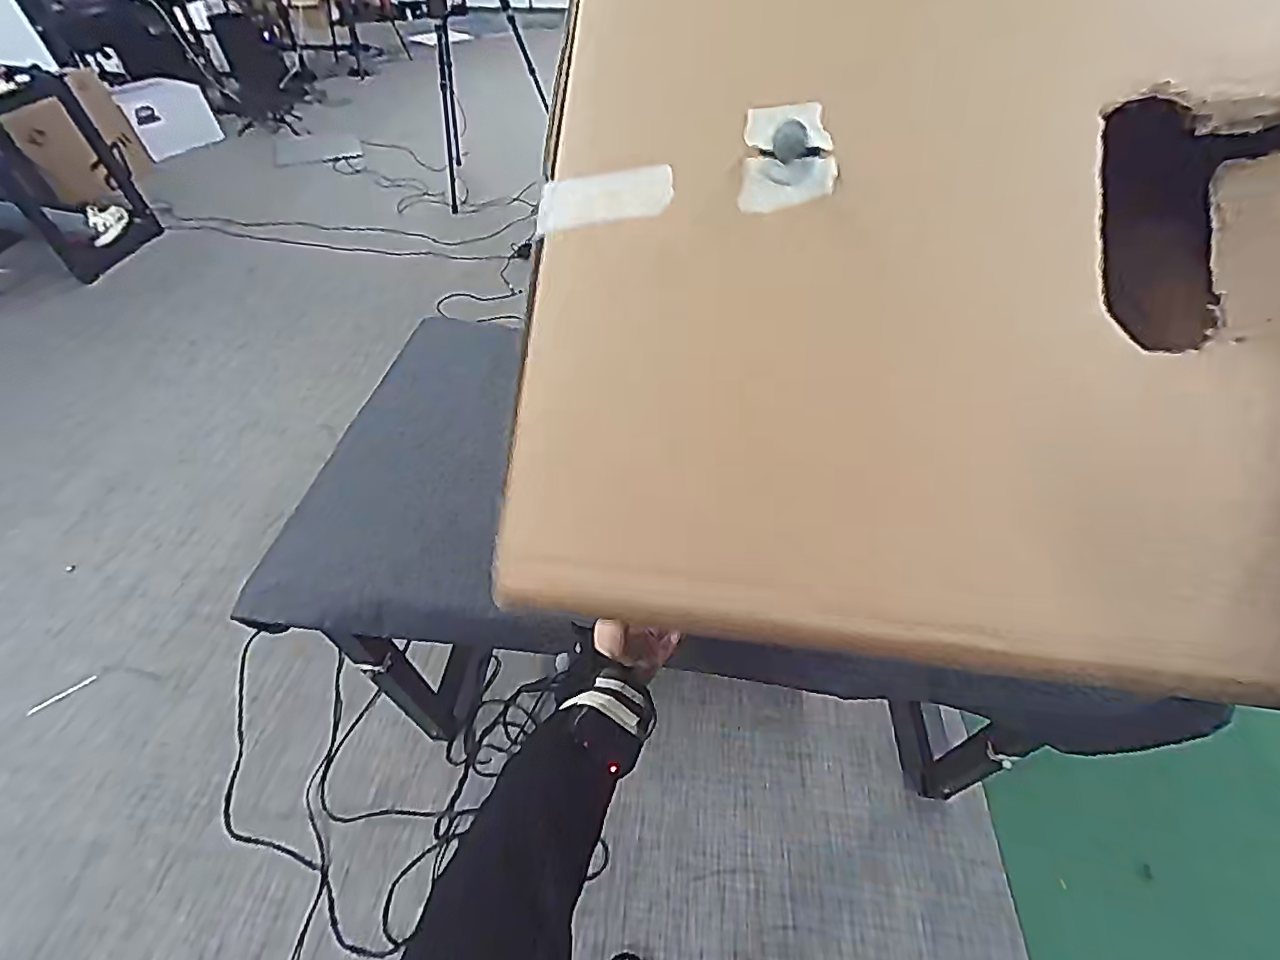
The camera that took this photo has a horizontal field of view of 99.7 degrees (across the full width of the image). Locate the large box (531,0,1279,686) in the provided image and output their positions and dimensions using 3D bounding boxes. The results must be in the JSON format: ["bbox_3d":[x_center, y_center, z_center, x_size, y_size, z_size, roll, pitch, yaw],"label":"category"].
[{"bbox_3d":[0.134,-0.065,0.399,0.320,0.408,0.320,4,82,7],"label":"large box"}]
